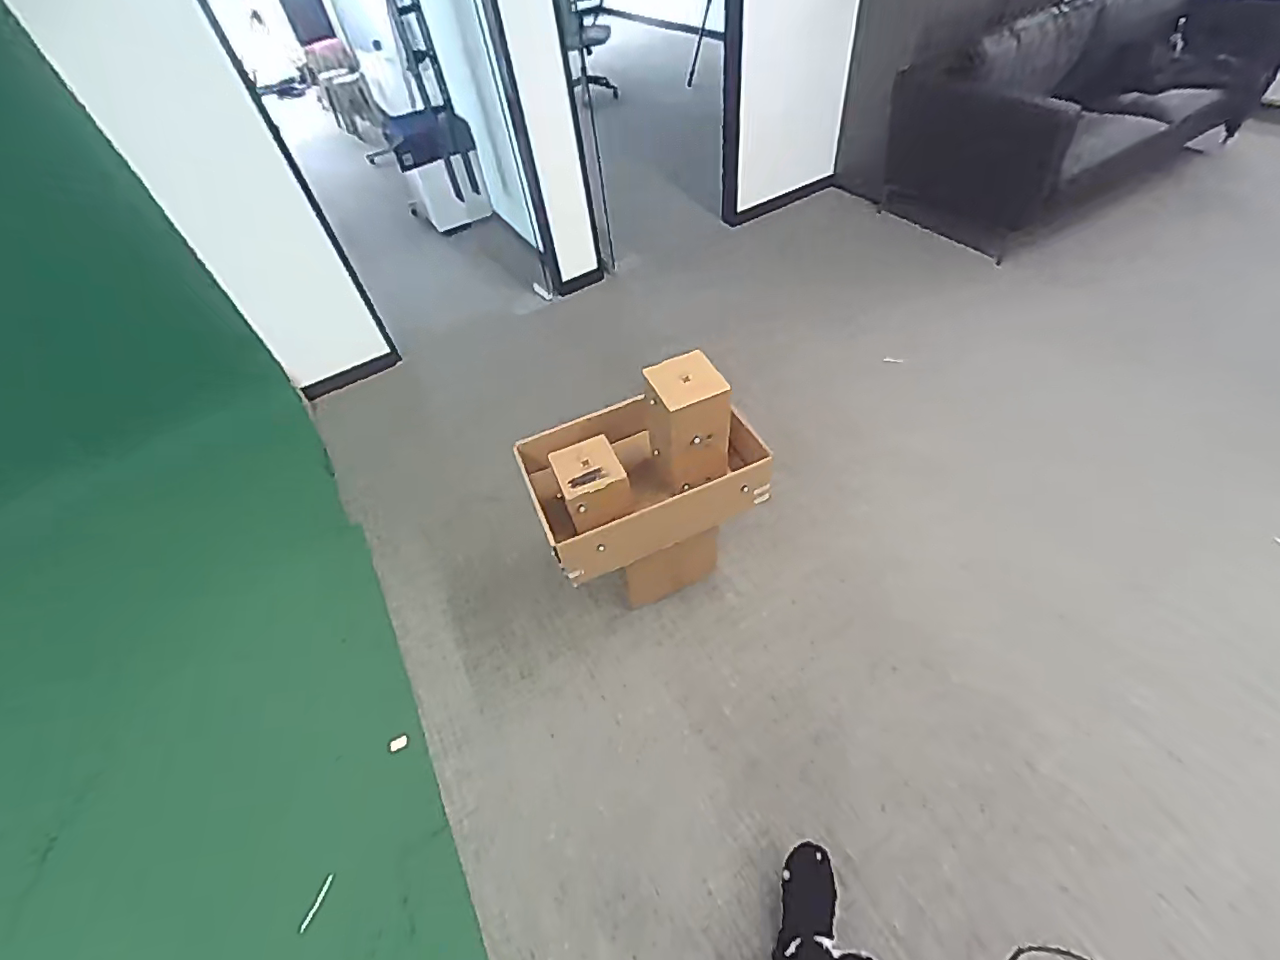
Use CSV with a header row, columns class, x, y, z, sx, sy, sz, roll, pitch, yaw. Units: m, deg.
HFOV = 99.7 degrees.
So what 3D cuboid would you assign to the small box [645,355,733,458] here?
class,x,y,z,sx,sy,sz,roll,pitch,yaw
small box,0.125,-0.188,1.392,0.168,0.176,0.179,-21,51,-10
